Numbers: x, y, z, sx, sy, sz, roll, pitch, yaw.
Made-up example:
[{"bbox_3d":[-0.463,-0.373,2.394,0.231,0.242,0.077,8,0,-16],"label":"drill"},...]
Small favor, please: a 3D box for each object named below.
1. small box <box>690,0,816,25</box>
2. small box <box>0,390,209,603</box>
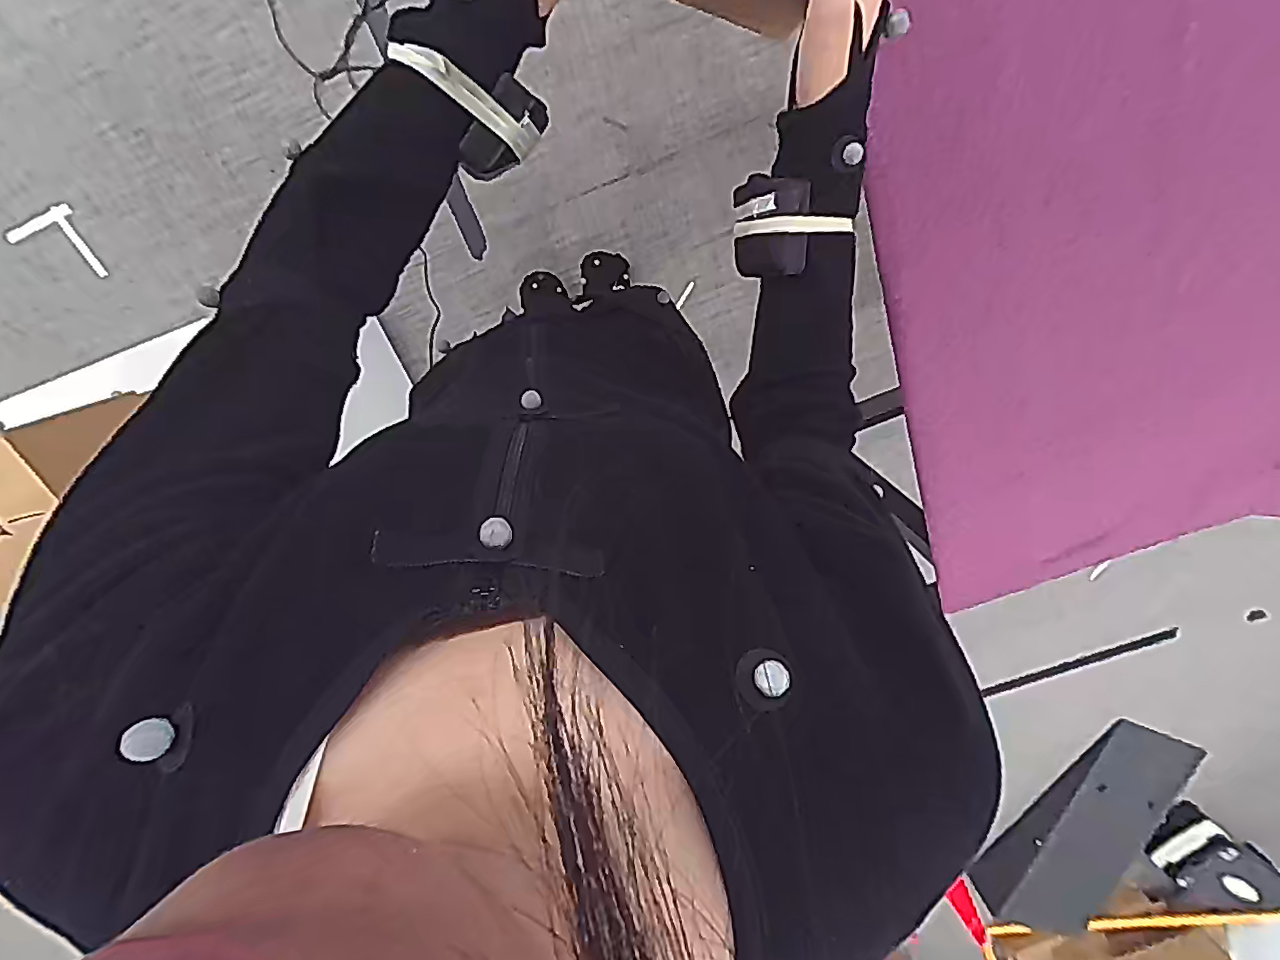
[{"bbox_3d":[0.067,-0.419,0.327,0.179,0.176,0.168,14,114,-9],"label":"small box"},{"bbox_3d":[-0.666,0.014,0.621,0.179,0.176,0.168,-18,114,3],"label":"small box"}]
